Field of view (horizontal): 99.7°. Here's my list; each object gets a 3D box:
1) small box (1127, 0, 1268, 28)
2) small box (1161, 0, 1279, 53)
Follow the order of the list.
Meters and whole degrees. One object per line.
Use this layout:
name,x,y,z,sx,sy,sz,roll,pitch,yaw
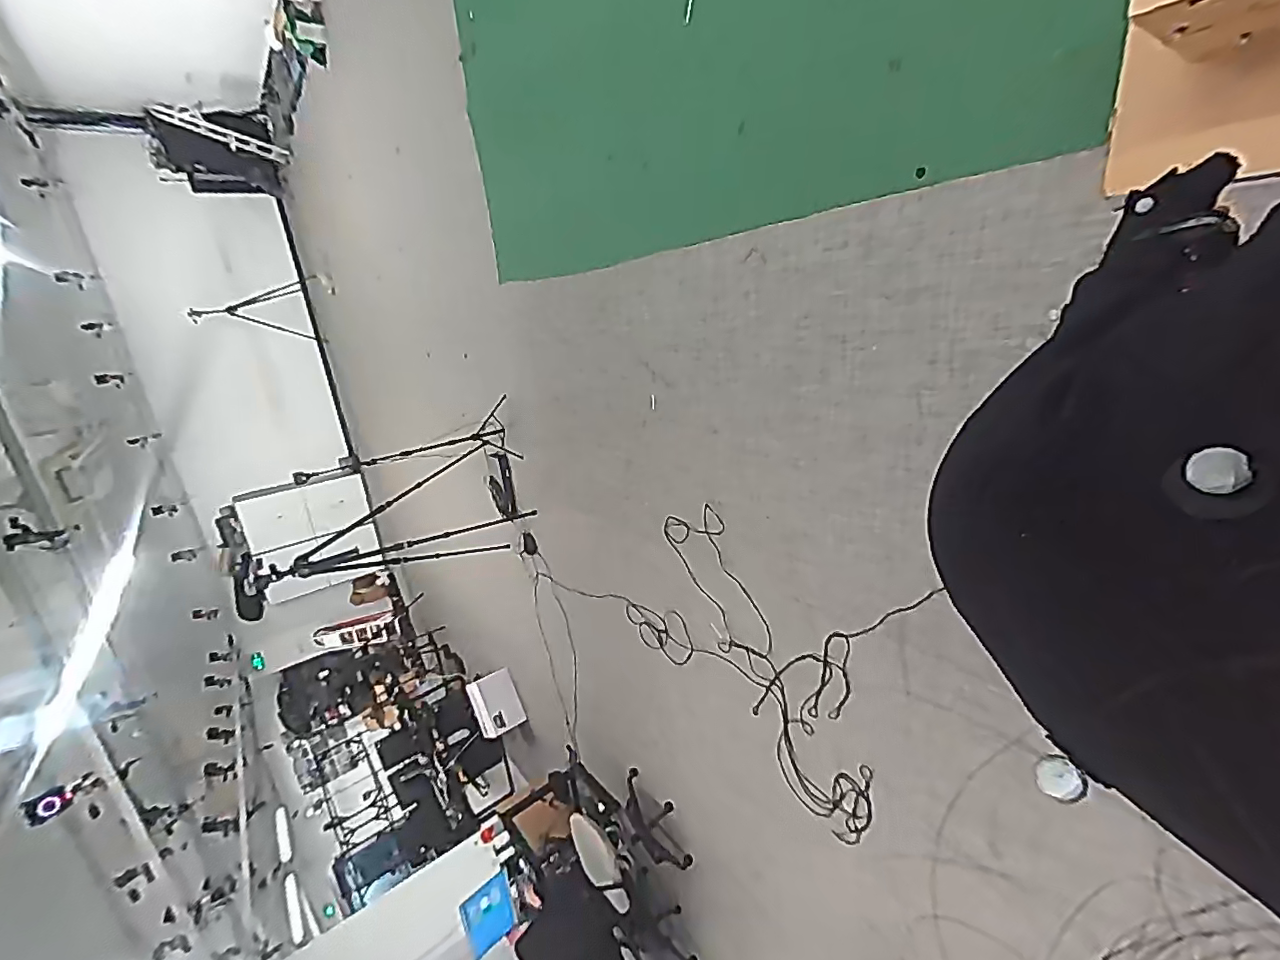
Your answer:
small box,0.805,-0.750,0.729,0.168,0.176,0.179,20,120,50
small box,0.936,-0.792,0.818,0.168,0.176,0.179,18,120,52
